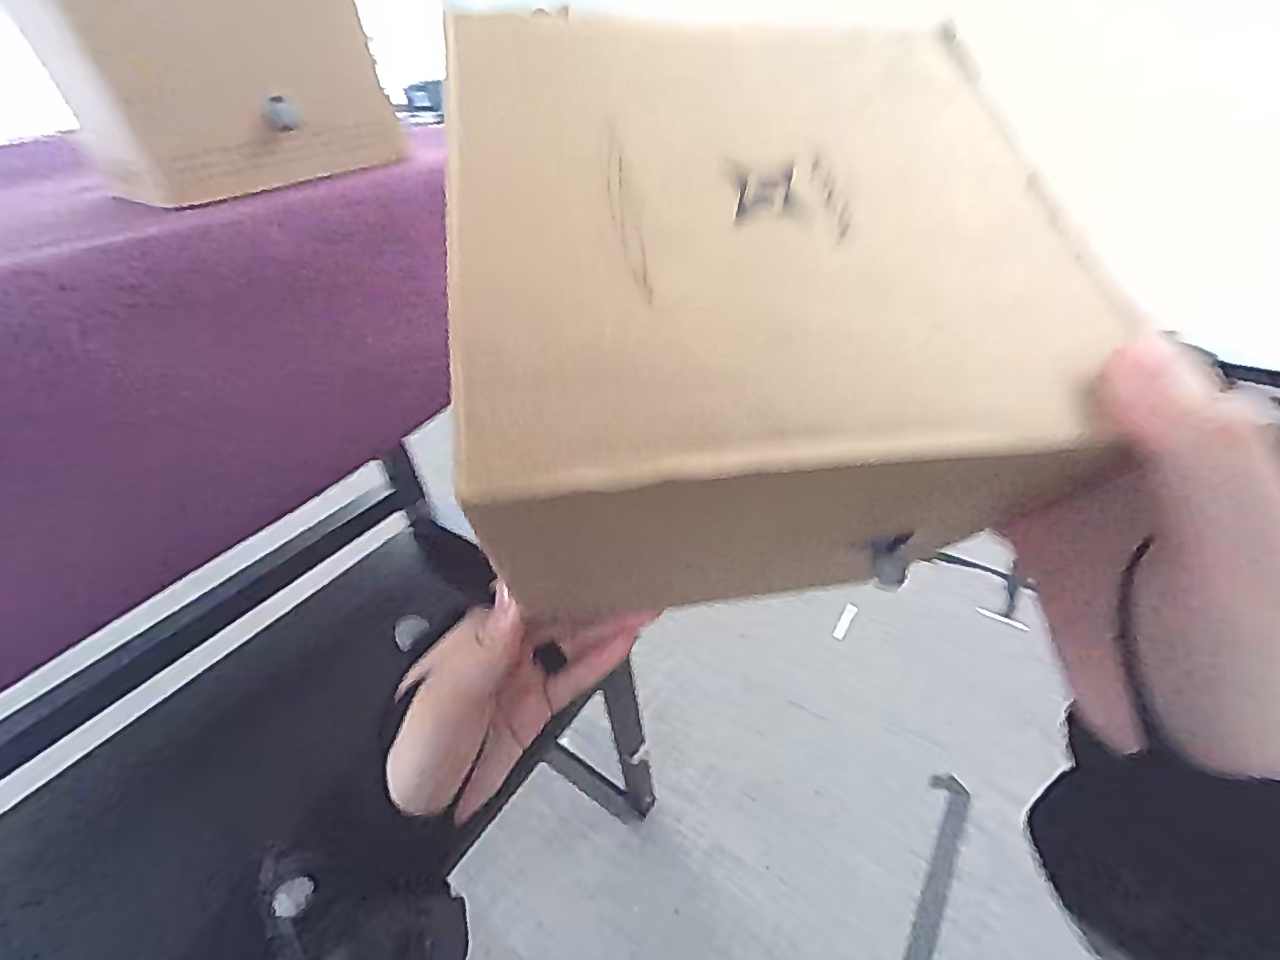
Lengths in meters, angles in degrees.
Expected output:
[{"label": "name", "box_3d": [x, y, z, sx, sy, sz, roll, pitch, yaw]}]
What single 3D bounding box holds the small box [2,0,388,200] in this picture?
[{"label": "small box", "box_3d": [-0.307, -0.312, 0.380, 0.168, 0.176, 0.179, 23, 47, 33]}]
